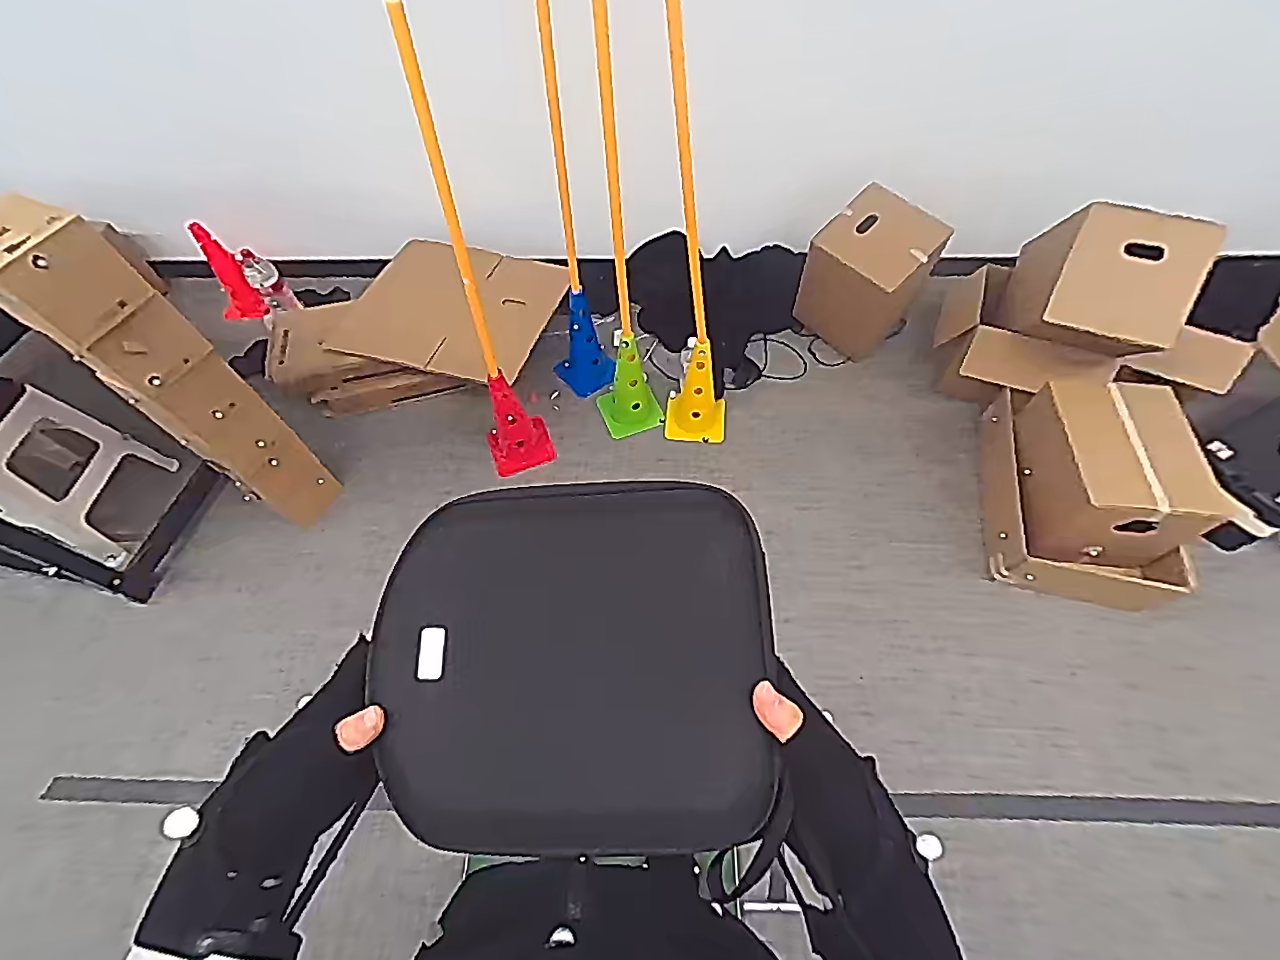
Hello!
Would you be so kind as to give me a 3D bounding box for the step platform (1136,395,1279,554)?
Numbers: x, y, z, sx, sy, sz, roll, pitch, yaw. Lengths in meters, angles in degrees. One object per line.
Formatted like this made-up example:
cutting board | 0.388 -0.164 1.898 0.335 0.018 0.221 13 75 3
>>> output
step platform | 1.903 -0.051 1.639 0.684 0.204 0.286 -25 61 -13
